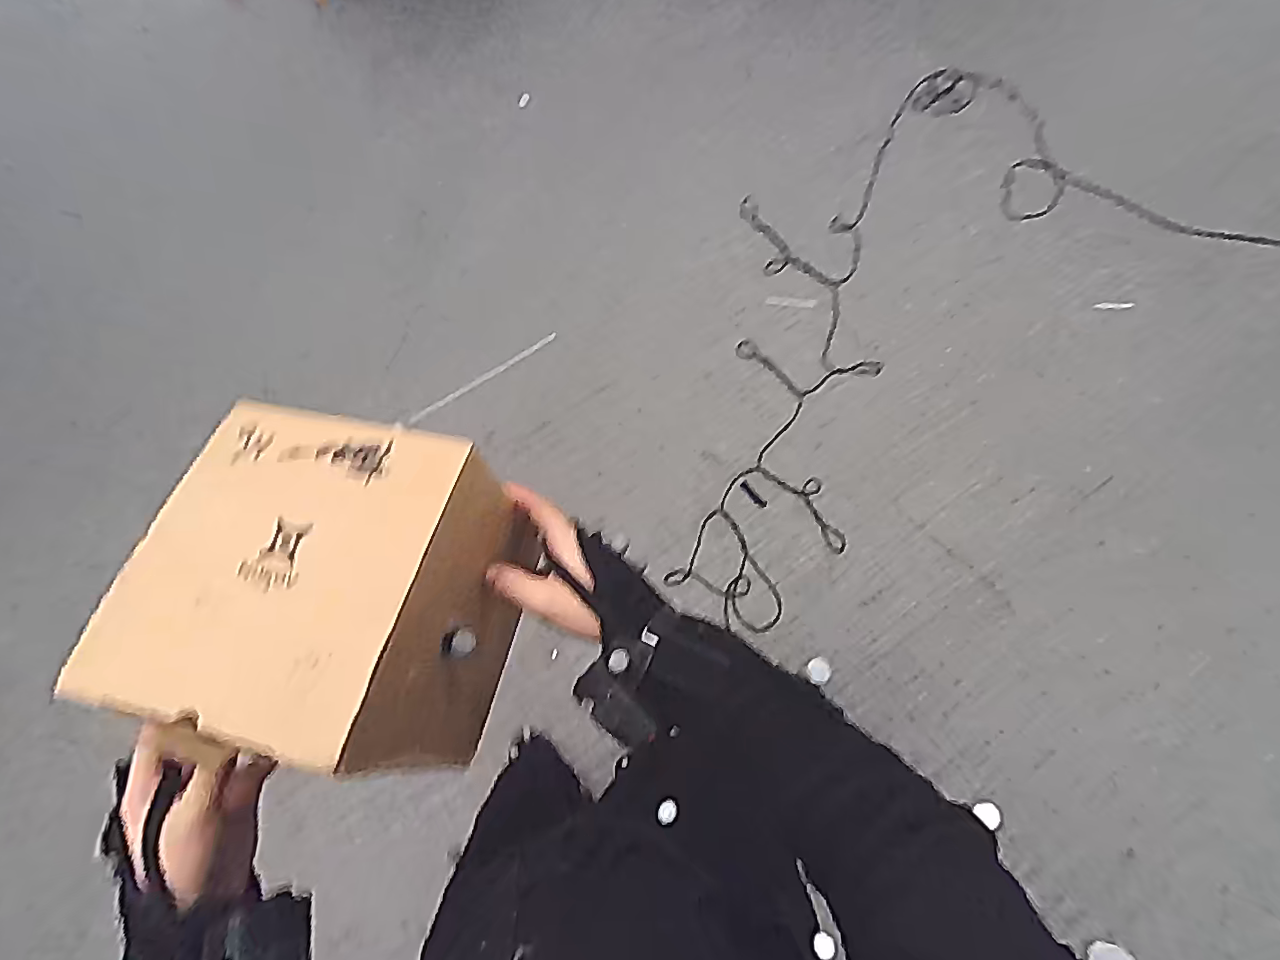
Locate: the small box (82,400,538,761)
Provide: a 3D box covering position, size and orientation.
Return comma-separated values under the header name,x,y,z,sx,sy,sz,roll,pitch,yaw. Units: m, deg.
name,x,y,z,sx,sy,sz,roll,pitch,yaw
small box,-0.186,0.073,0.370,0.168,0.176,0.179,10,66,11
